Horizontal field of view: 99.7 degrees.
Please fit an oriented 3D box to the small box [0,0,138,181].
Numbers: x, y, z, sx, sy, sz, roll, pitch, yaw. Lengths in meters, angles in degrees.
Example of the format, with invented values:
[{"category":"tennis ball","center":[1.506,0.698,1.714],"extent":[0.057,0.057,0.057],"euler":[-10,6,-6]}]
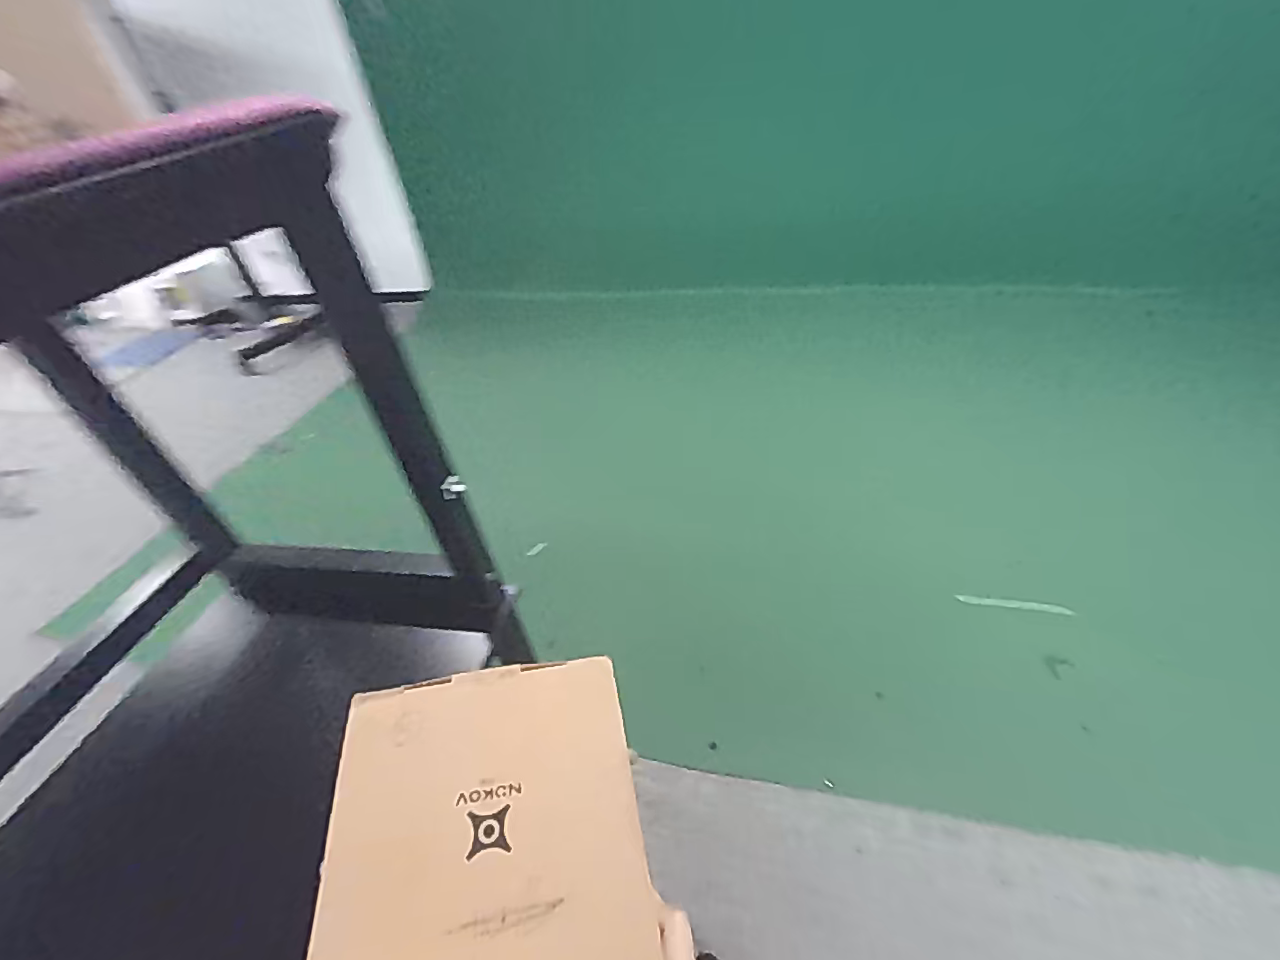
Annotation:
[{"category":"small box","center":[-0.534,-0.305,0.378],"extent":[0.179,0.176,0.168],"euler":[7,43,16]}]
